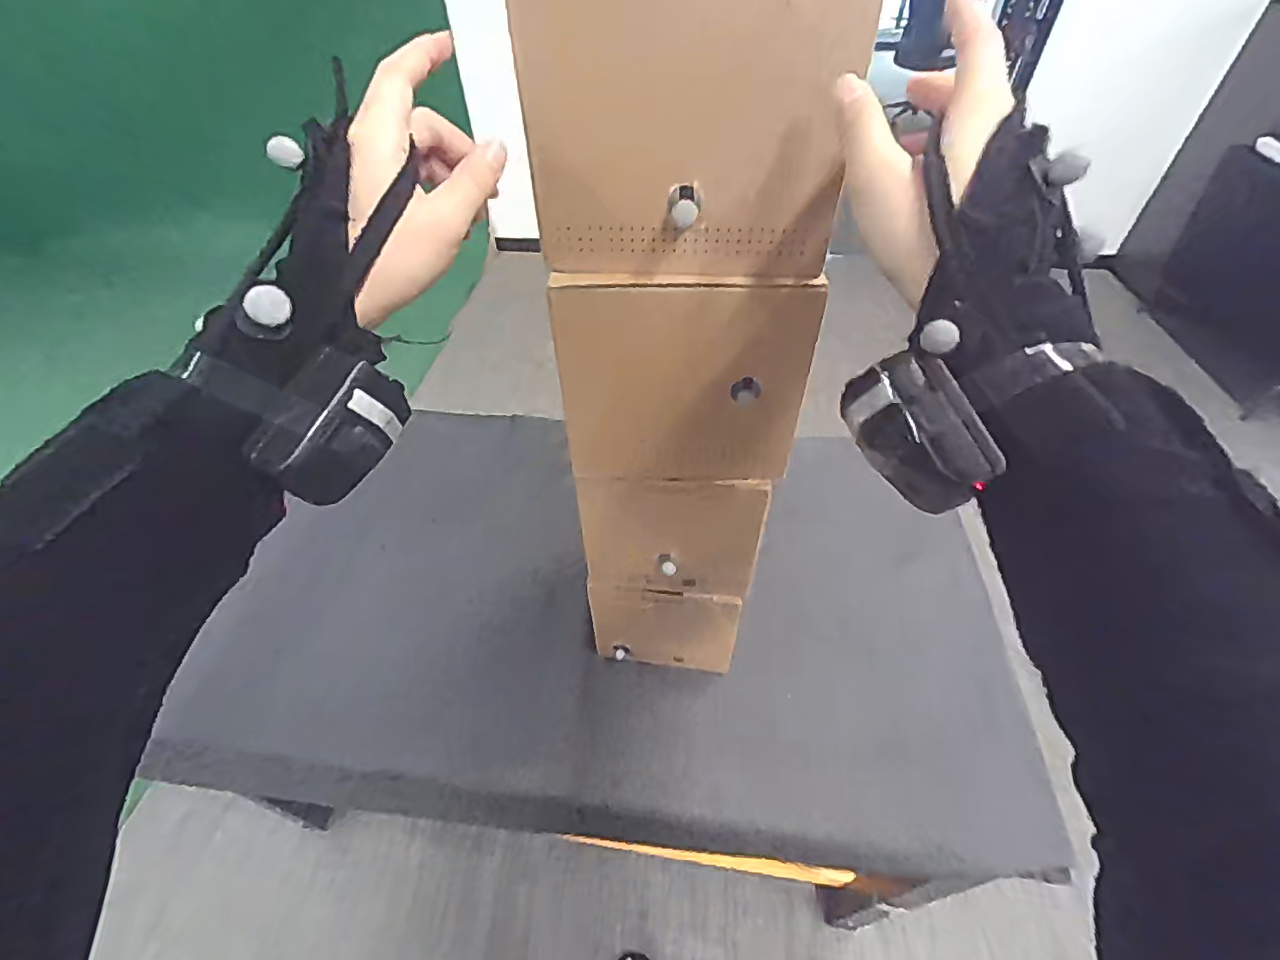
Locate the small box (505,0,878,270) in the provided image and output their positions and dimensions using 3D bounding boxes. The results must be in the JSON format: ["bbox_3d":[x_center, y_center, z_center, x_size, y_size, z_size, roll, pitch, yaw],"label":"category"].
[{"bbox_3d":[0.029,-0.244,0.337,0.179,0.176,0.168,3,45,4],"label":"small box"}]

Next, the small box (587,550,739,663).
[{"bbox_3d":[0.038,0.108,0.678,0.168,0.176,0.179,6,46,7],"label":"small box"}]

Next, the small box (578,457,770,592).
[{"bbox_3d":[0.037,-0.008,0.562,0.168,0.176,0.179,3,47,6],"label":"small box"}]

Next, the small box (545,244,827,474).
[{"bbox_3d":[0.031,-0.118,0.442,0.179,0.176,0.168,-1,45,2],"label":"small box"}]
